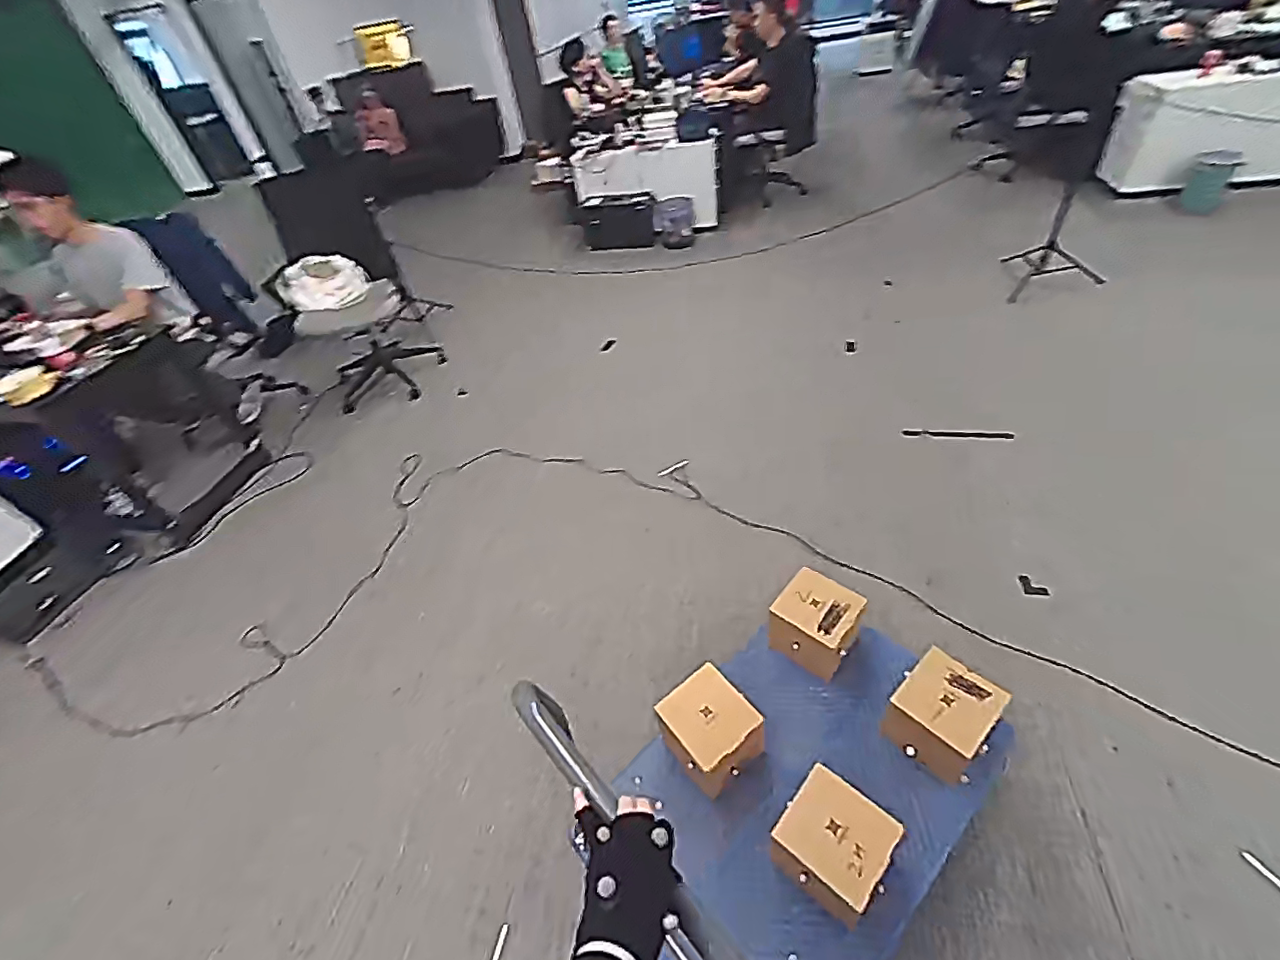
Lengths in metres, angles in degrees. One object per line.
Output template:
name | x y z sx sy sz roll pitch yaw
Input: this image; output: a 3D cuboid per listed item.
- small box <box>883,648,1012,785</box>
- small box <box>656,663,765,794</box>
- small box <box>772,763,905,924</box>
small box | 0.646 0.505 1.156 0.179 0.176 0.168 -36 48 -23
small box | 0.157 0.556 1.208 0.168 0.176 0.179 -32 48 -21
small box | 0.365 0.688 1.022 0.179 0.176 0.168 29 56 35
